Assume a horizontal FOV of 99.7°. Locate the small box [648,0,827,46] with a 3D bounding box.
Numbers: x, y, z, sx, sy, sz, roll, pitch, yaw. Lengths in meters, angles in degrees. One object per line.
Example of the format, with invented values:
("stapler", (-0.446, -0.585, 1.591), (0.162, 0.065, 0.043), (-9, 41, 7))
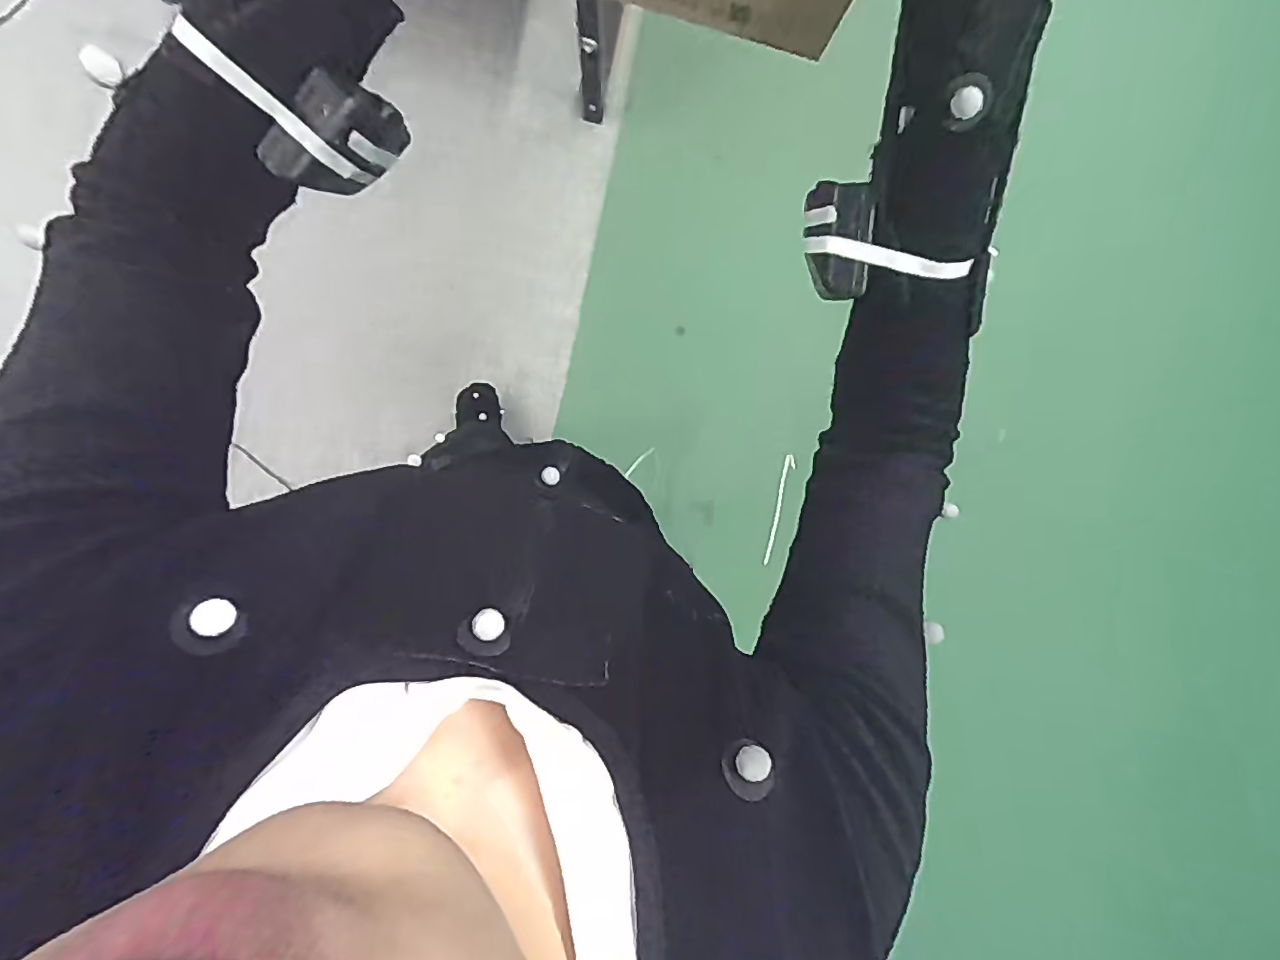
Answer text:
("small box", (0.059, -0.388, 0.276), (0.168, 0.176, 0.179), (14, 93, -4))
